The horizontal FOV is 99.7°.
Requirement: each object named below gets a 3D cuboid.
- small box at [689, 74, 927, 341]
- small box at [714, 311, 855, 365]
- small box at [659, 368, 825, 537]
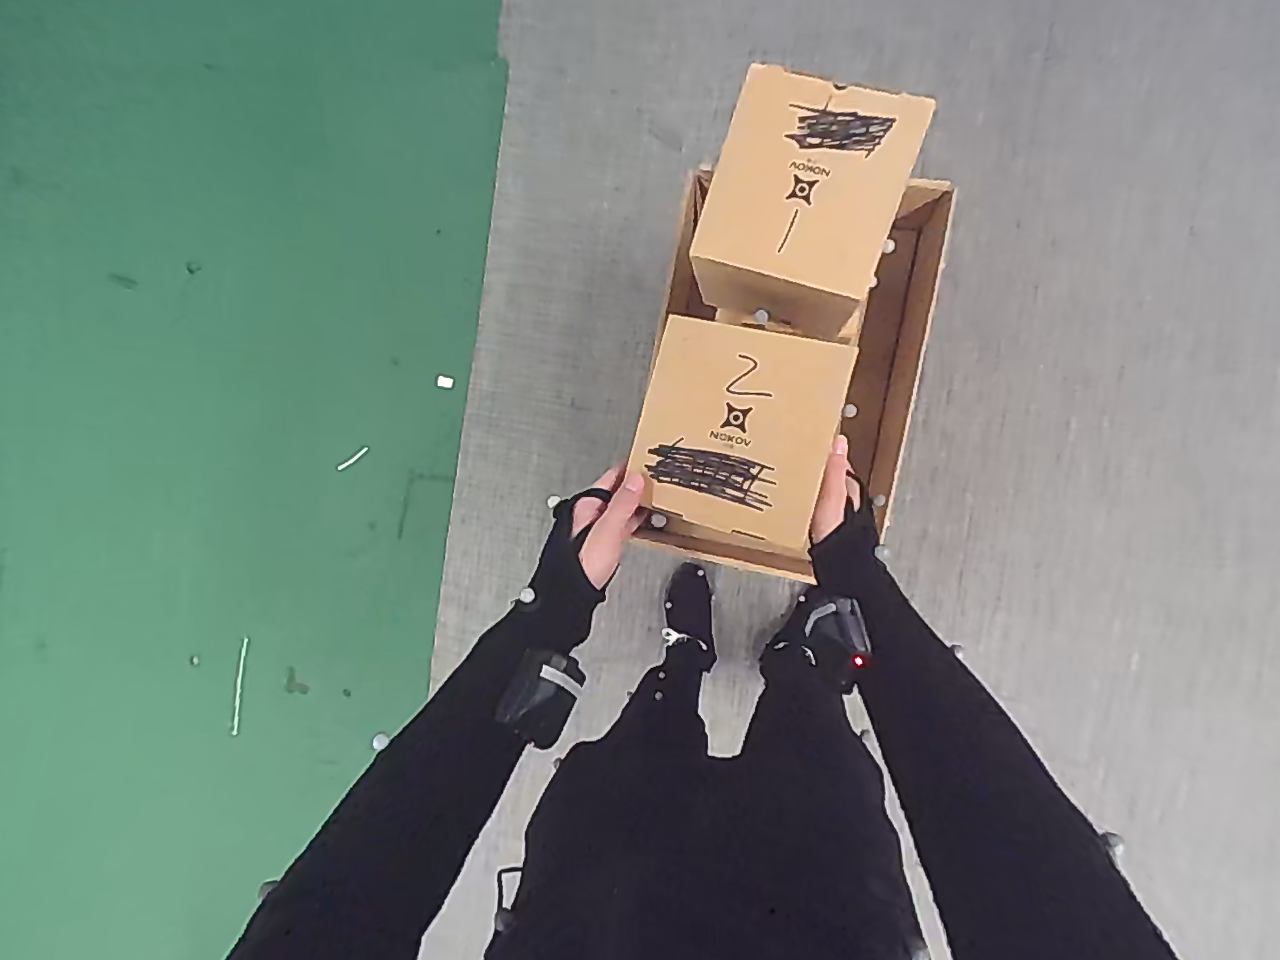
[{"bbox_3d":[0.161,-0.265,0.565,0.168,0.176,0.179,20,96,10],"label":"small box"},{"bbox_3d":[0.197,-0.265,0.725,0.168,0.176,0.179,10,94,10],"label":"small box"},{"bbox_3d":[0.137,-0.035,0.736,0.168,0.176,0.179,15,92,10],"label":"small box"}]
